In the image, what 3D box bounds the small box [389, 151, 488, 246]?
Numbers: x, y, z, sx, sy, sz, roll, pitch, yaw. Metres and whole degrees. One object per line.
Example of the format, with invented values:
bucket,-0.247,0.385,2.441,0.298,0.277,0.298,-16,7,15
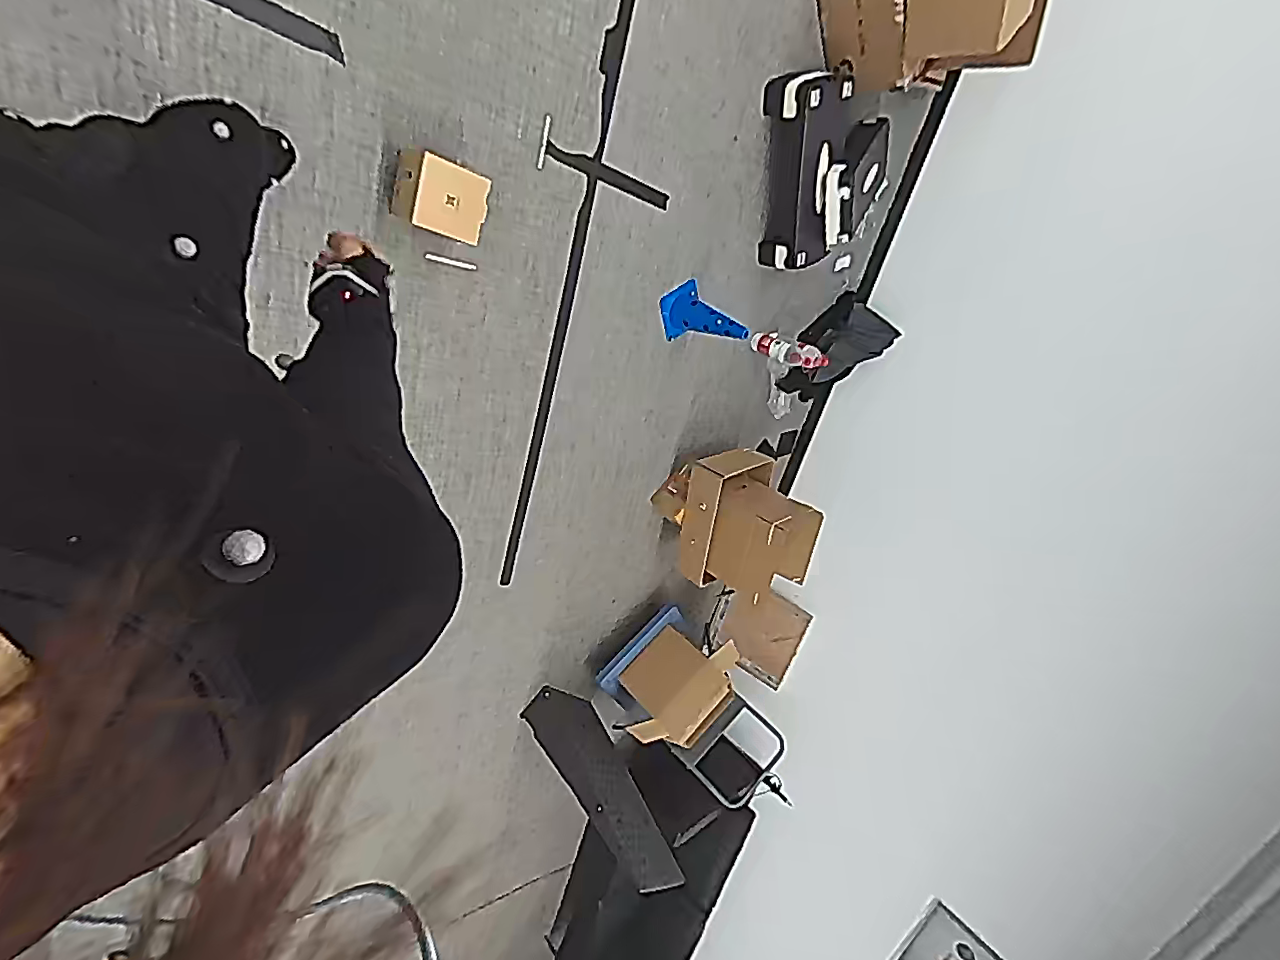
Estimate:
small box,-0.525,-0.723,1.392,0.179,0.176,0.168,0,116,-46
